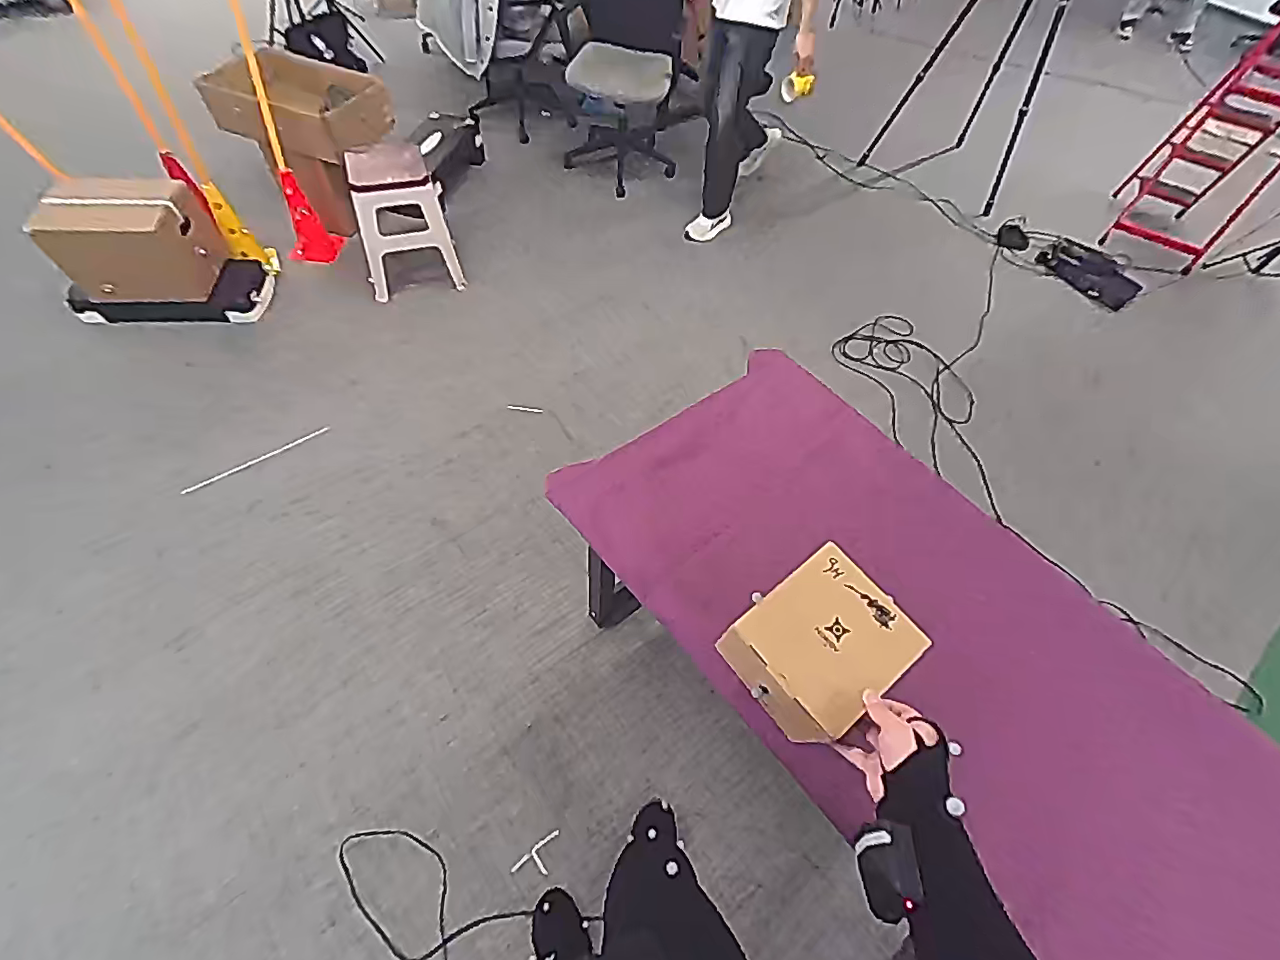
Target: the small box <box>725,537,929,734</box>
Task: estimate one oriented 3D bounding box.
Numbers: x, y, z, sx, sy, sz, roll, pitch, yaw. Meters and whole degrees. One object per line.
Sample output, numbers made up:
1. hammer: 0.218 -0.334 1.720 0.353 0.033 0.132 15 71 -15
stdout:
1. small box: 0.227 0.211 0.713 0.179 0.176 0.168 -36 70 -15
